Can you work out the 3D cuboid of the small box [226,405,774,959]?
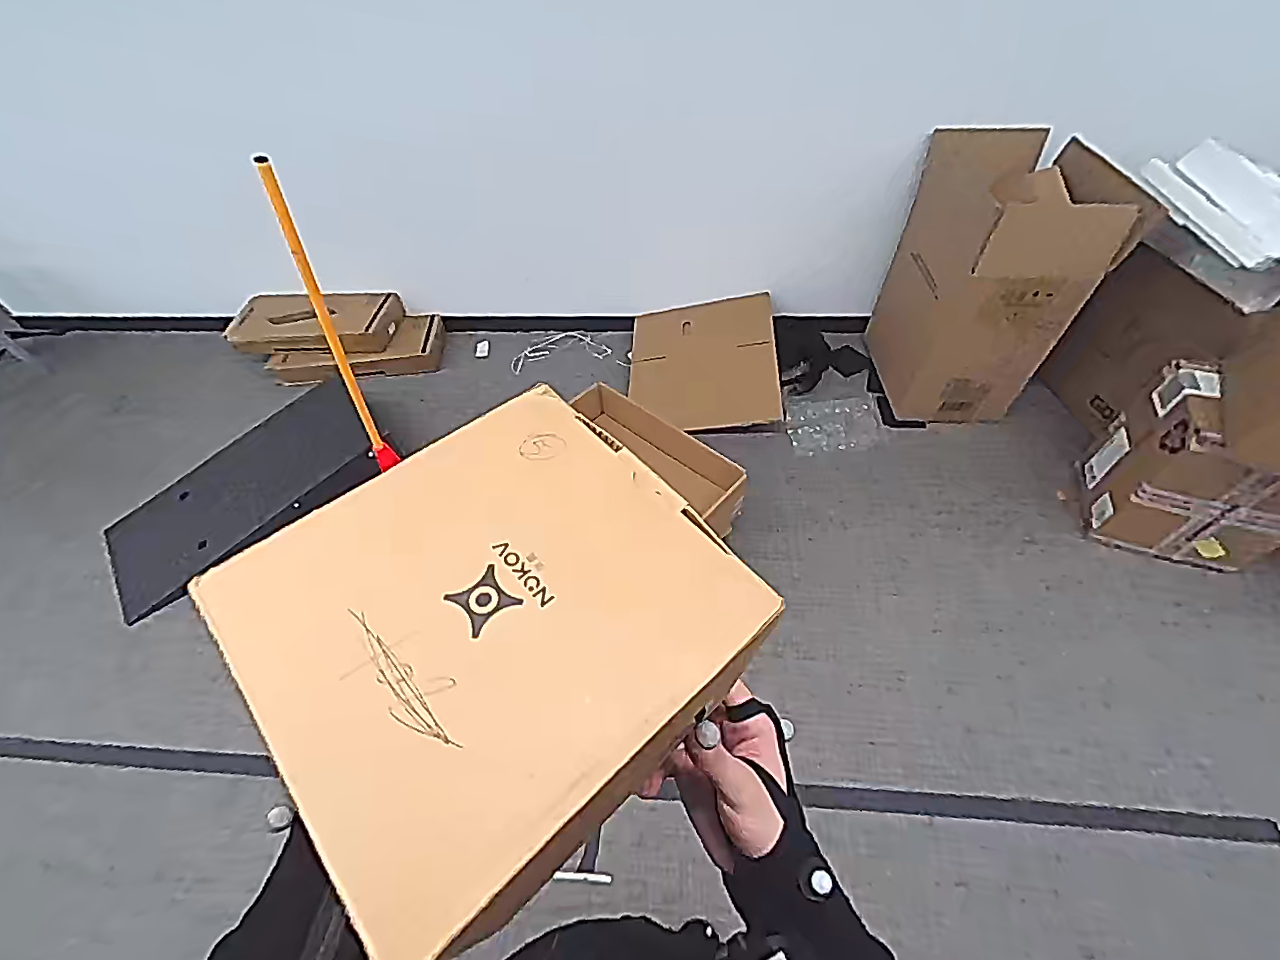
[{"bbox_3d":[-0.060,0.099,0.295,0.179,0.176,0.168,-38,63,-24],"label":"small box"}]
